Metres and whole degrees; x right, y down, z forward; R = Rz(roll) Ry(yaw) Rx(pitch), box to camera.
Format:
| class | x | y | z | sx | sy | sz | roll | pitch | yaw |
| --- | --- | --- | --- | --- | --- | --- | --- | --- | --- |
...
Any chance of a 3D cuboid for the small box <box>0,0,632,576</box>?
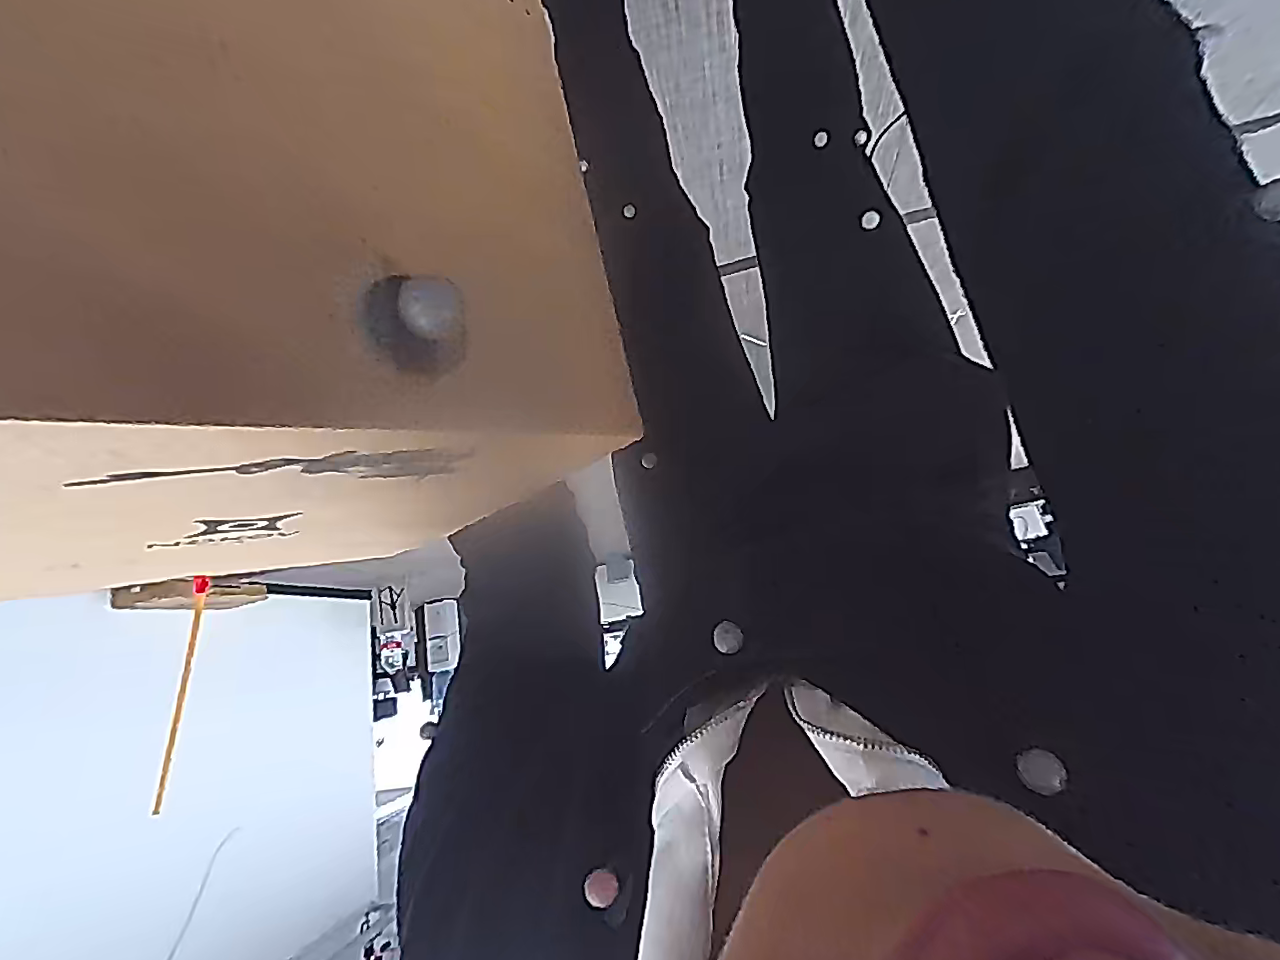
| class | x | y | z | sx | sy | sz | roll | pitch | yaw |
| --- | --- | --- | --- | --- | --- | --- | --- | --- | --- |
| small box | -0.131 | -0.072 | 0.167 | 0.179 | 0.176 | 0.168 | -20 | 170 | 41 |
